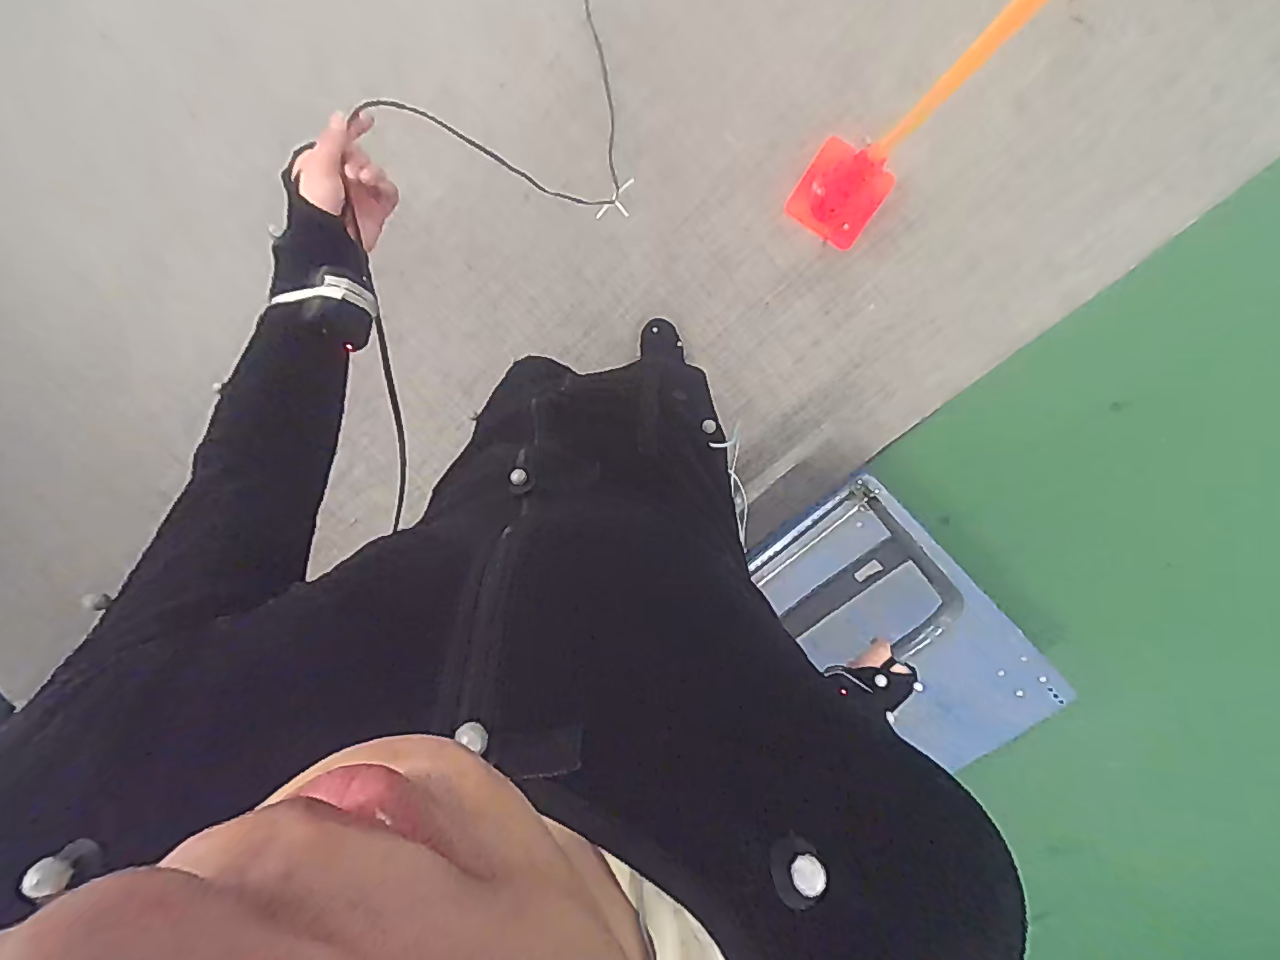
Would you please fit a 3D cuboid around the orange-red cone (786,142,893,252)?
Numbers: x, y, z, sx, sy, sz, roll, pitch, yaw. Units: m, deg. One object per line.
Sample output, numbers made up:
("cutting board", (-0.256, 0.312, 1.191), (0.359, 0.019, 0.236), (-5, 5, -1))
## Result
("orange-red cone", (0.473, -0.655, 1.181), (0.198, 0.360, 0.199), (34, 106, -4))
